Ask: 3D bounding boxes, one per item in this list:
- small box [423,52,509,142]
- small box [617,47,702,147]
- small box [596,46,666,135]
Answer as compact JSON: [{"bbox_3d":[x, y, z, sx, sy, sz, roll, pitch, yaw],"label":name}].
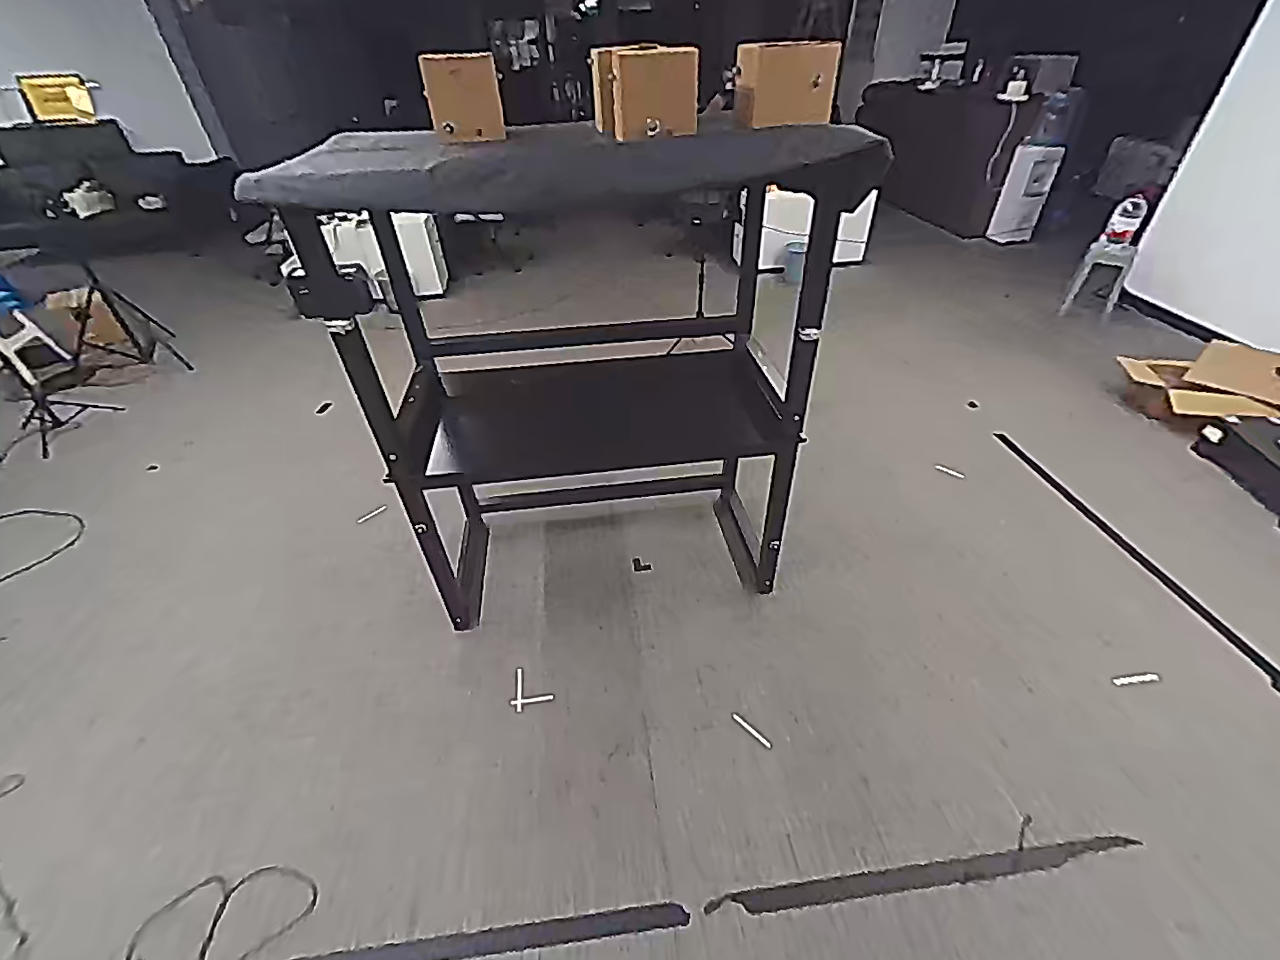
[{"bbox_3d":[-0.419,-0.938,1.328,0.168,0.176,0.179,-8,40,-8],"label":"small box"},{"bbox_3d":[0.038,-0.840,1.188,0.168,0.176,0.179,-6,39,-3],"label":"small box"},{"bbox_3d":[-0.016,-0.988,1.371,0.179,0.176,0.168,-6,40,-5],"label":"small box"}]
